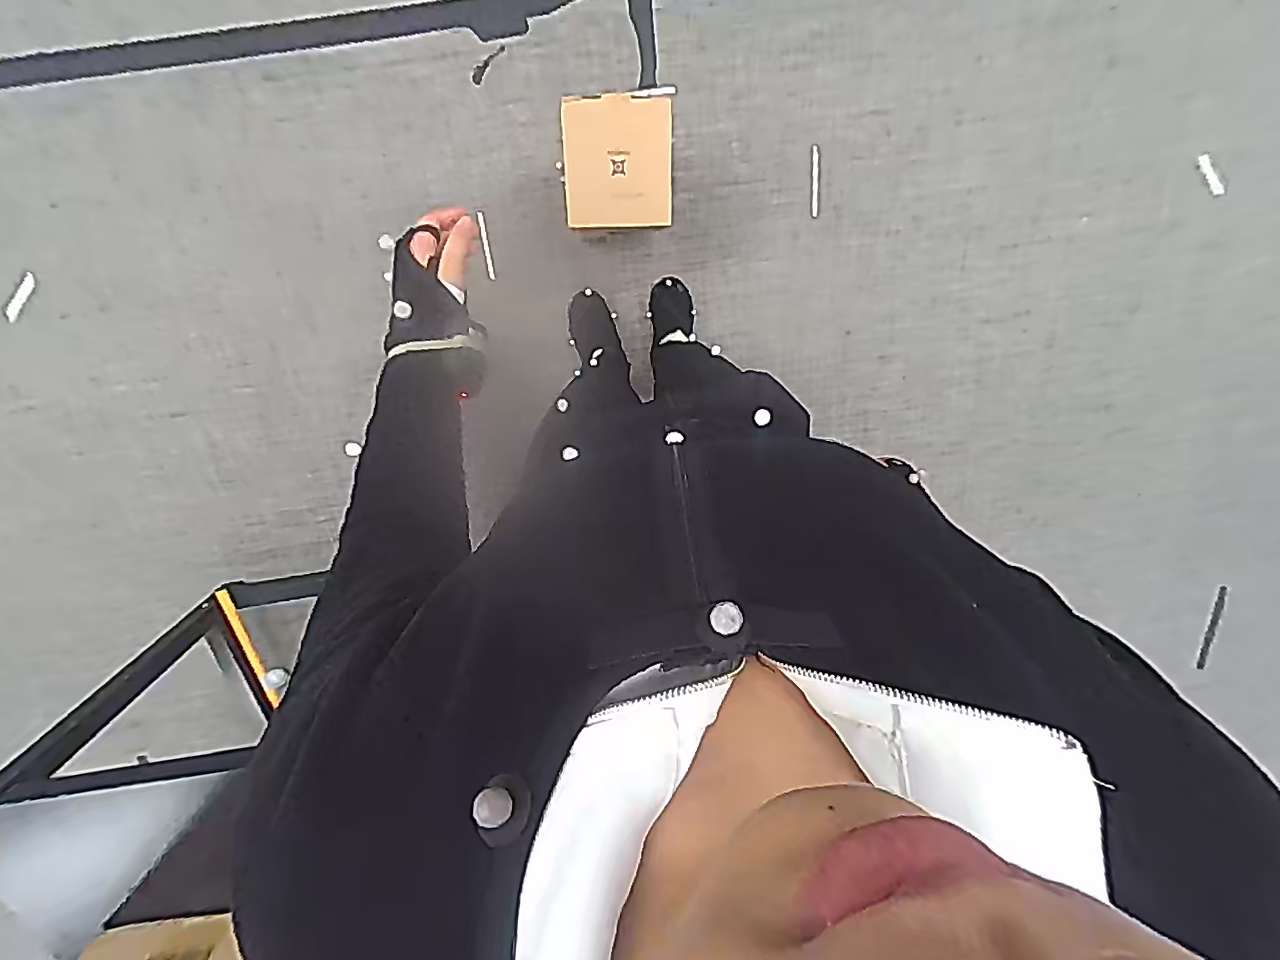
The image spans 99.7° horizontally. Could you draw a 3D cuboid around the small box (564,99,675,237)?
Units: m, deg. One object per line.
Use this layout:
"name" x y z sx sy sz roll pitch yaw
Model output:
"small box" -0.035 -0.502 0.890 0.168 0.176 0.179 -3 113 -3
